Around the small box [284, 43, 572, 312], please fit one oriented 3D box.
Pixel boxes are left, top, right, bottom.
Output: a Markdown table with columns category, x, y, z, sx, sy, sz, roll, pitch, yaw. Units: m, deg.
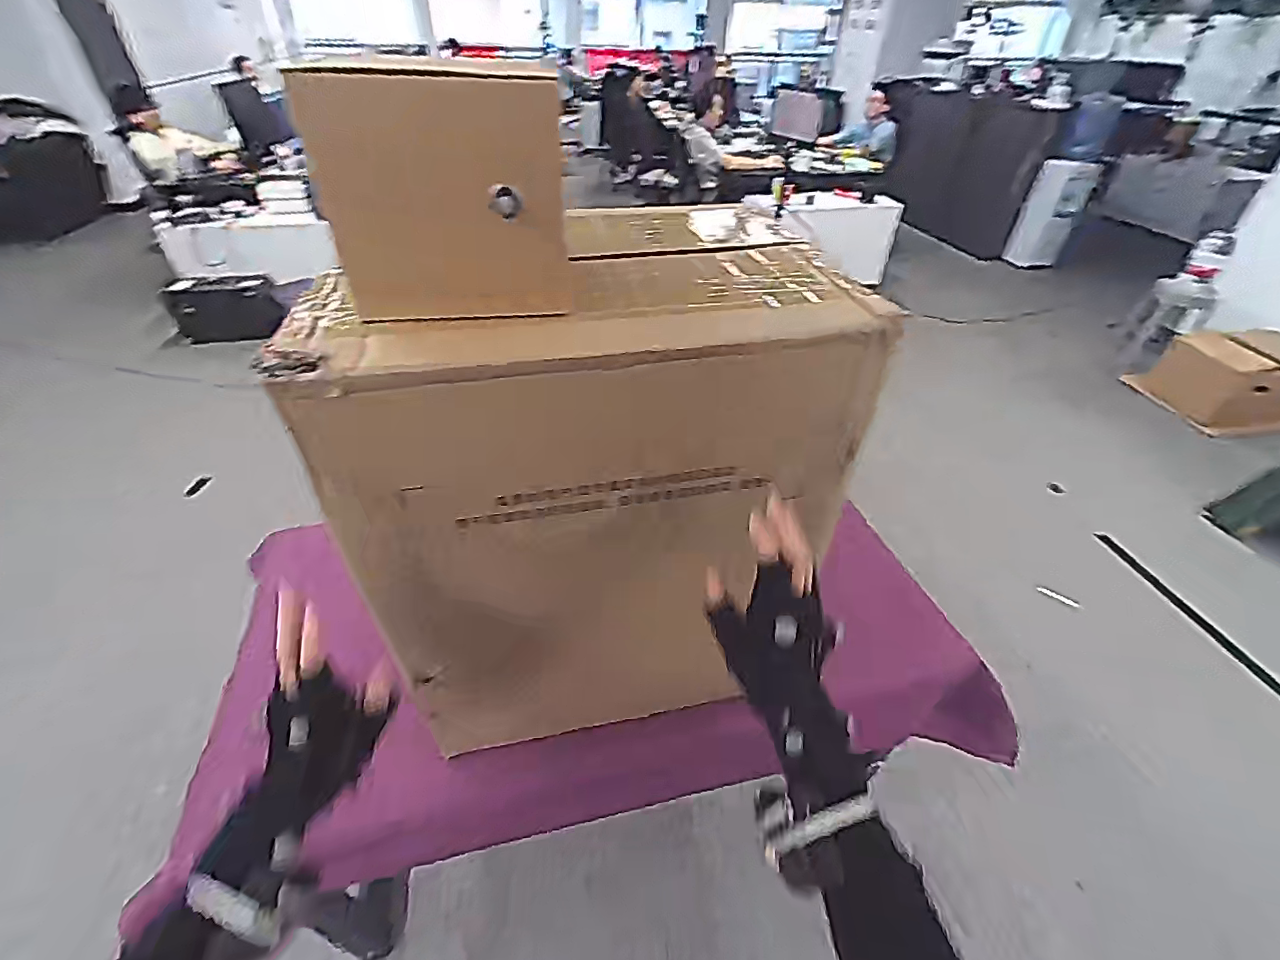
| category | x | y | z | sx | sy | sz | roll | pitch | yaw |
| --- | --- | --- | --- | --- | --- | --- | --- | --- | --- |
| small box | -0.150 | -0.253 | 0.455 | 0.179 | 0.176 | 0.168 | -6 | 40 | -9 |
